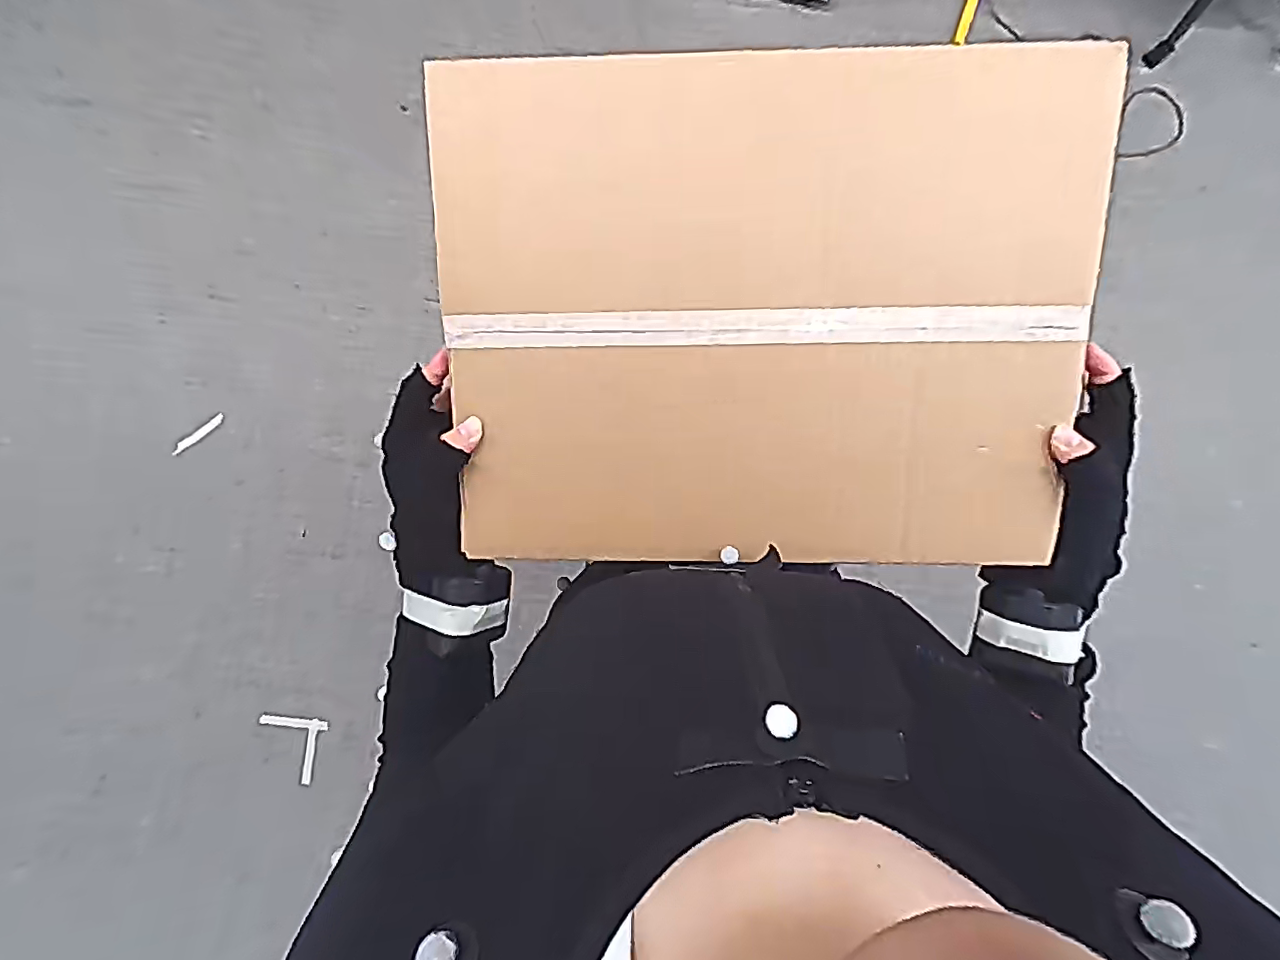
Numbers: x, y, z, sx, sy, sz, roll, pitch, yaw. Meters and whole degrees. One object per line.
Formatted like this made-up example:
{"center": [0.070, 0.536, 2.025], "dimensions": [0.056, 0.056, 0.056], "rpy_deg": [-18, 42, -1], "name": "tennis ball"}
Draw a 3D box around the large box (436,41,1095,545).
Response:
{"center": [0.078, -0.135, 0.500], "dimensions": [0.408, 0.320, 0.320], "rpy_deg": [0, 103, 2], "name": "large box"}
